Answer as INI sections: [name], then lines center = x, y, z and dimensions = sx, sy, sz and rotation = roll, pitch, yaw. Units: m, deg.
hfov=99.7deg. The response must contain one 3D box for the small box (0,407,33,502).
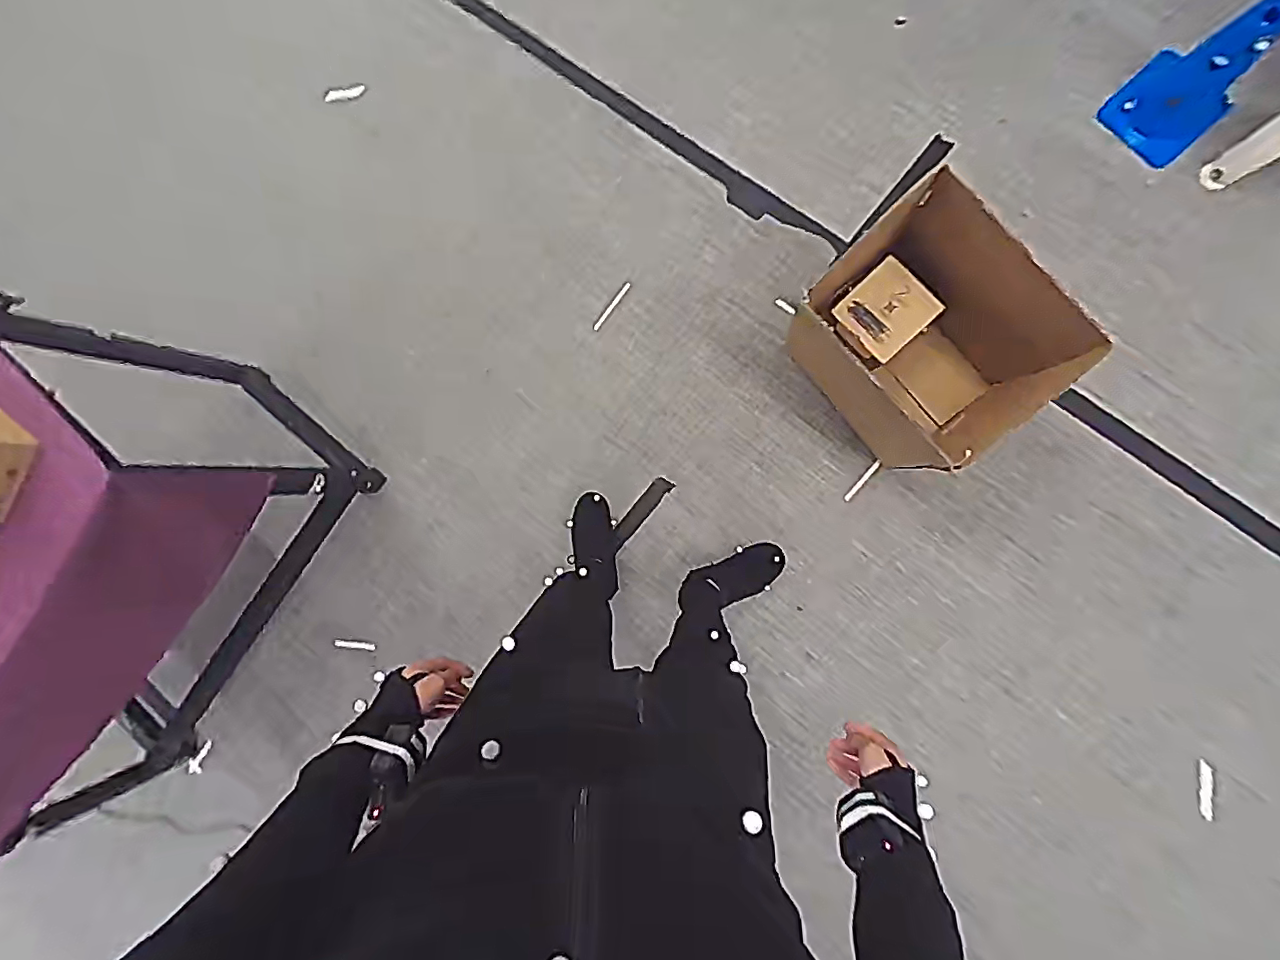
[small box]
center = -1.146, -0.049, 0.860
dimensions = 0.179, 0.176, 0.168
rotation = 35, 97, 10
